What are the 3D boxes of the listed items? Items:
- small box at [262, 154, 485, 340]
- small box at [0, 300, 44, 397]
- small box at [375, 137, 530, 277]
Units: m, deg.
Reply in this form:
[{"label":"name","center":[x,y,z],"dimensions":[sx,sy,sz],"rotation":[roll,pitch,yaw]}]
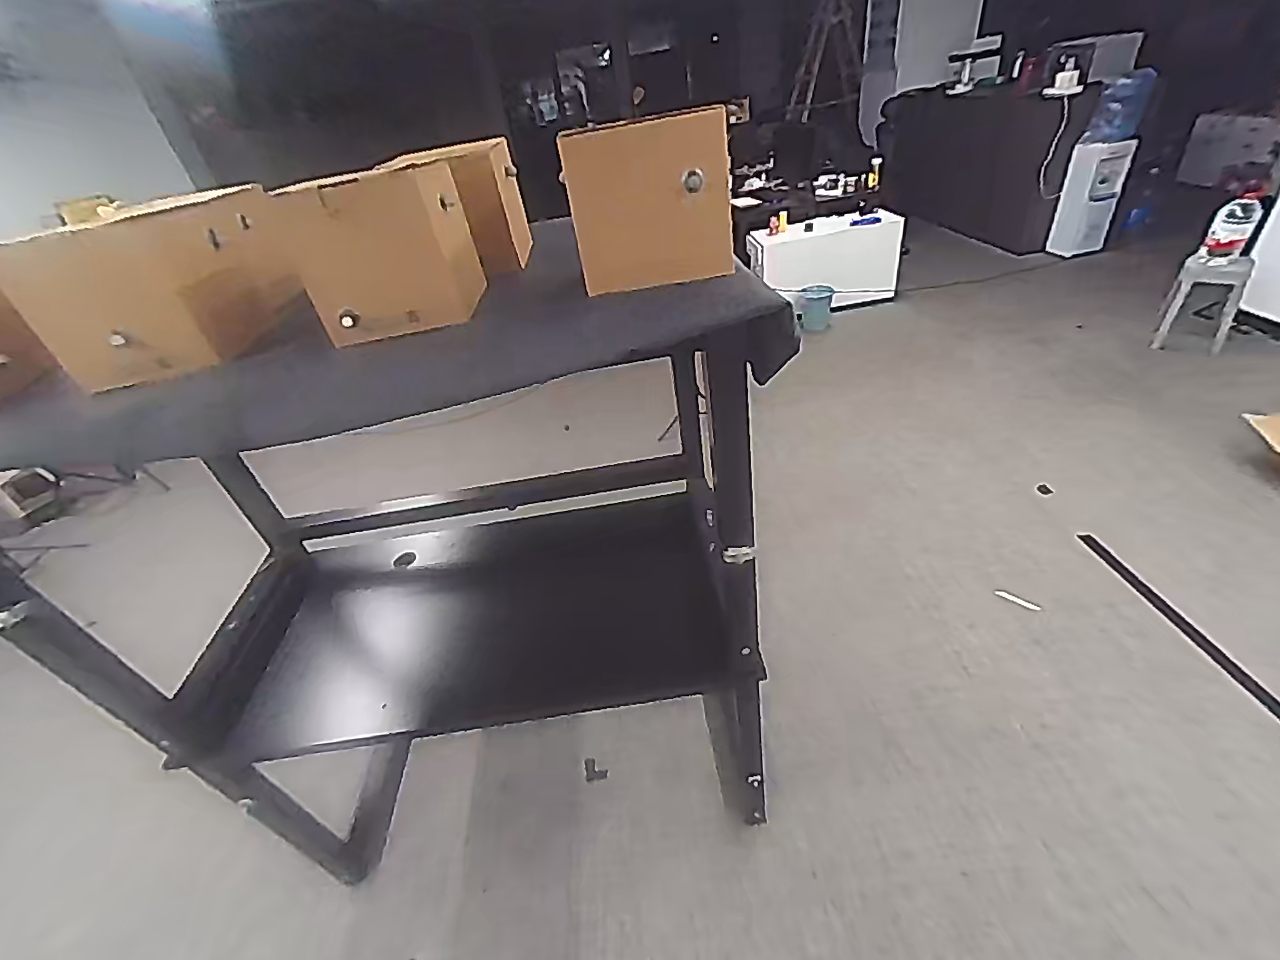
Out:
[{"label":"small box","center":[-0.304,-0.283,0.665],"dimensions":[0.168,0.176,0.179],"rotation":[-11,35,1]},{"label":"small box","center":[-0.914,-0.164,0.661],"dimensions":[0.168,0.176,0.179],"rotation":[-13,37,-5]},{"label":"small box","center":[-0.276,-0.421,0.846],"dimensions":[0.168,0.176,0.179],"rotation":[-10,37,2]}]
